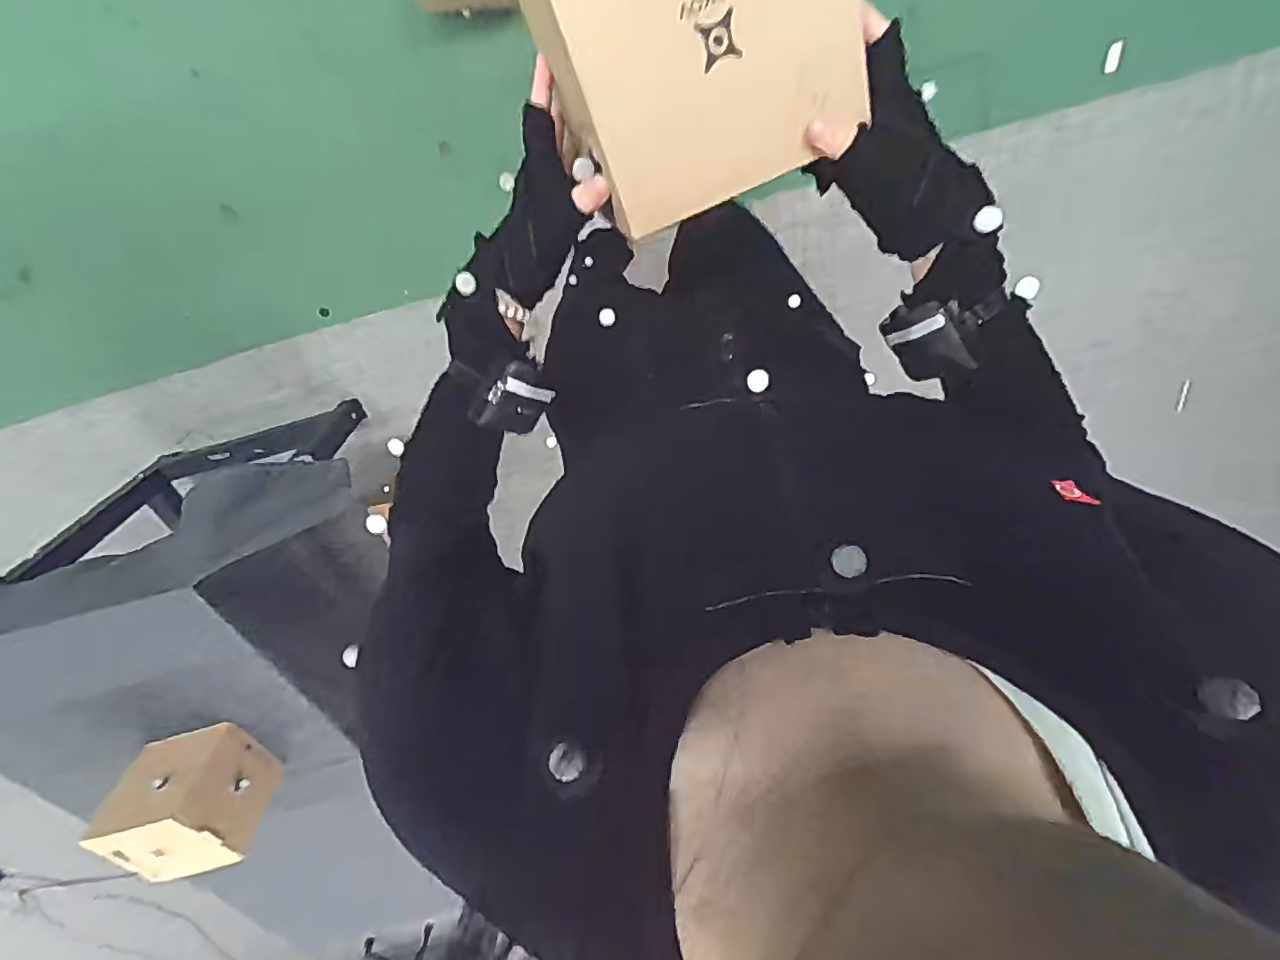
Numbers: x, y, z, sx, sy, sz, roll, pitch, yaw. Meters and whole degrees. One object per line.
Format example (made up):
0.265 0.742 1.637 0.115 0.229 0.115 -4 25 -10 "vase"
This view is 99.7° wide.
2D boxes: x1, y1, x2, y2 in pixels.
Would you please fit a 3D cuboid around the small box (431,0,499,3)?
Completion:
-0.319 -0.930 0.902 0.168 0.176 0.179 -6 124 -2 "small box"

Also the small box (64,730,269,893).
-0.781 0.559 0.925 0.179 0.176 0.168 -18 123 4 "small box"
